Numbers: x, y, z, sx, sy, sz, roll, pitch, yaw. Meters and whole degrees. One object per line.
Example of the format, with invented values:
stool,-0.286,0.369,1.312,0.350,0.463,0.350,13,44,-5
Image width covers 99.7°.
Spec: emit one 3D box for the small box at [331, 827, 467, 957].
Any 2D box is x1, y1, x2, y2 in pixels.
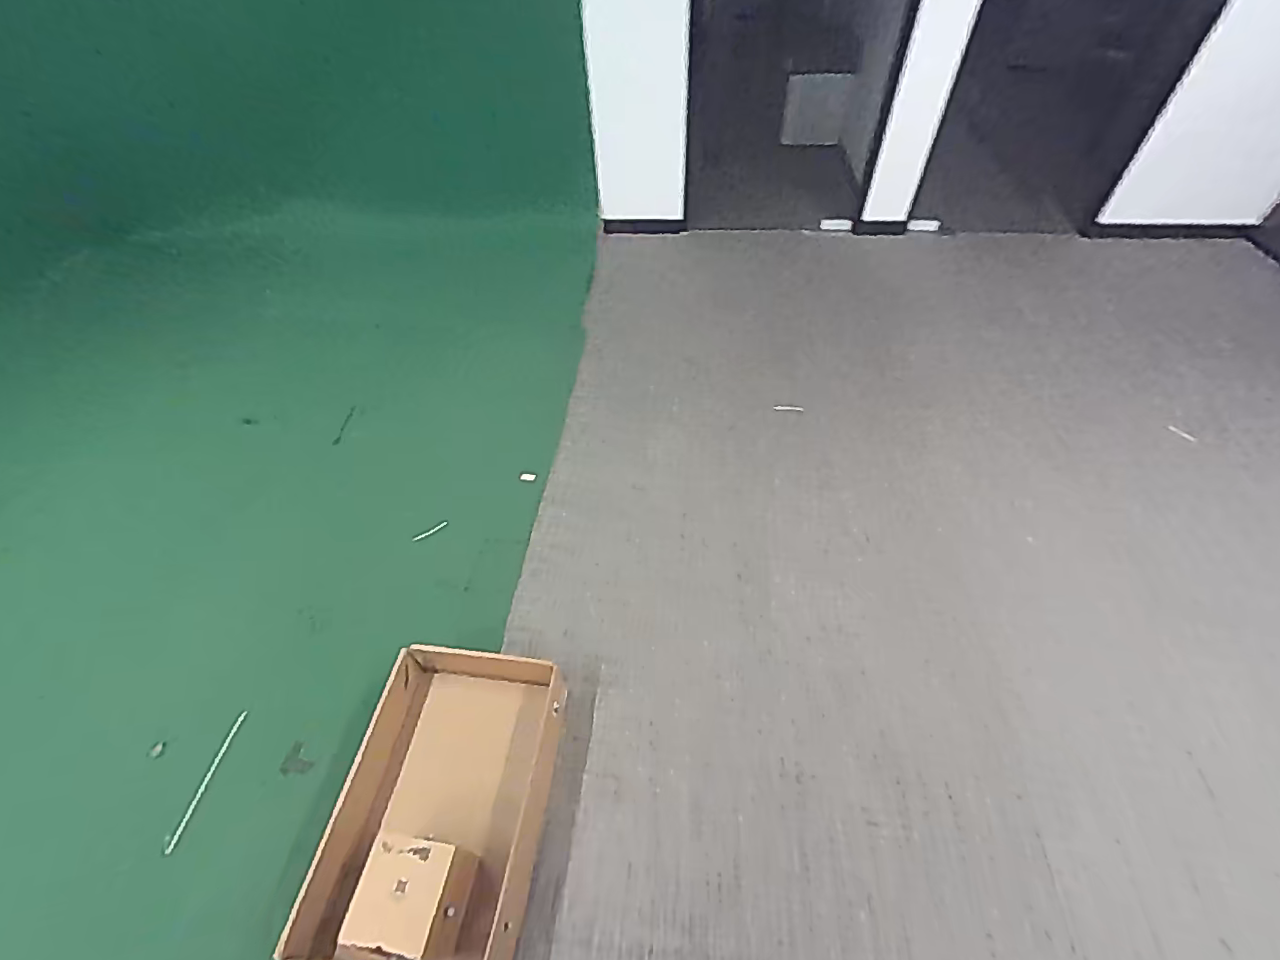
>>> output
small box,-0.462,0.814,1.073,0.168,0.176,0.179,6,51,5
